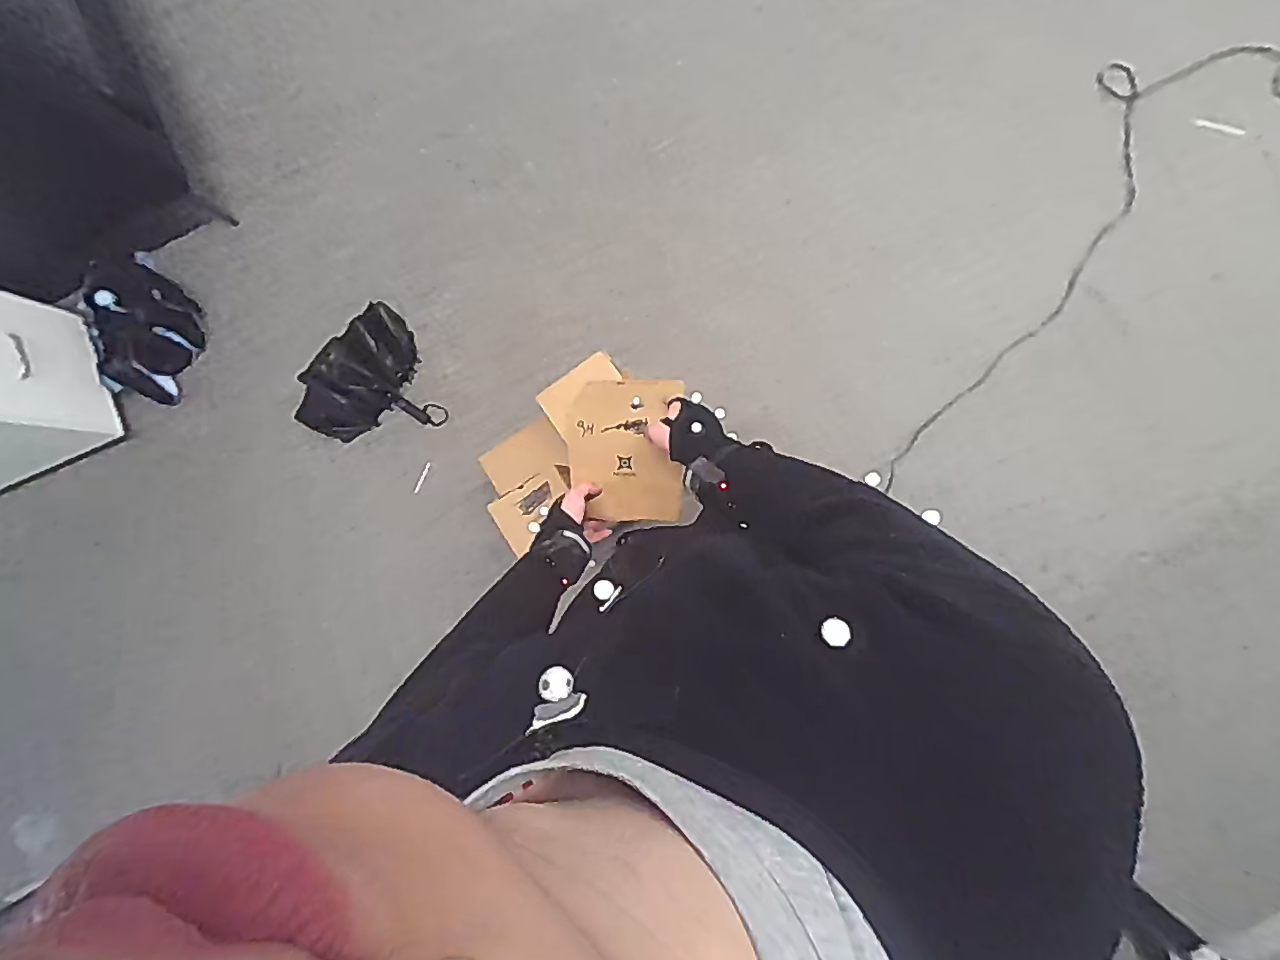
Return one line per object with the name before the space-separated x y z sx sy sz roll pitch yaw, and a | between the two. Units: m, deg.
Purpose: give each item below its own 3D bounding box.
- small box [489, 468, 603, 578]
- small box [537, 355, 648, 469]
small box | -0.197 0.090 1.181 0.168 0.176 0.179 -31 89 3
small box | -0.093 -0.140 1.183 0.179 0.176 0.168 -35 83 3
